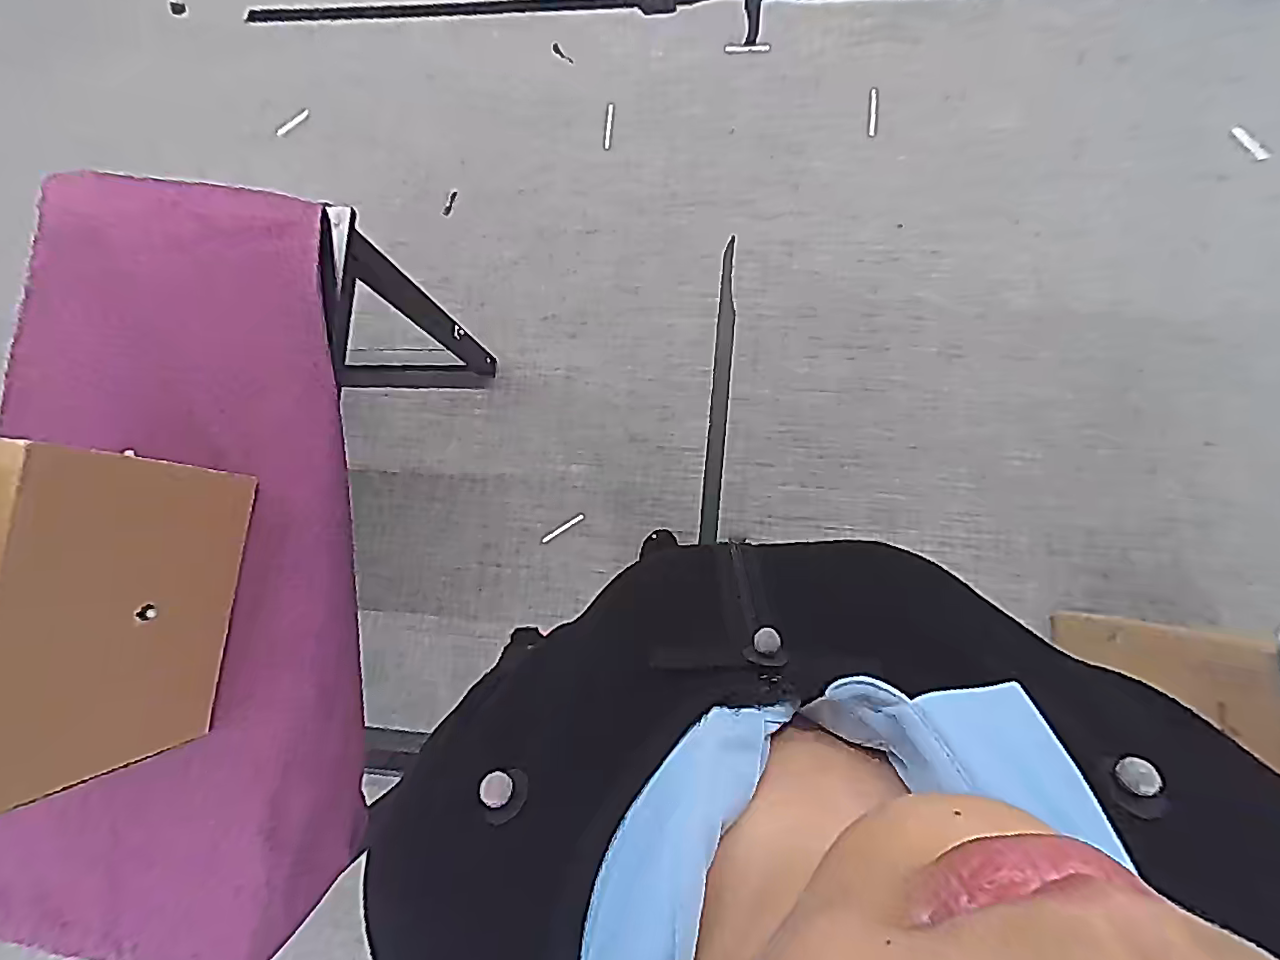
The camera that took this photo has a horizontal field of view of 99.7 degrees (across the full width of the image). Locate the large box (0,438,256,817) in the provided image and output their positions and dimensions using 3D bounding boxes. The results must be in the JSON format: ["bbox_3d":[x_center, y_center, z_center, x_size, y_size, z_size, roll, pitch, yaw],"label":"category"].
[{"bbox_3d":[-0.791,0.160,0.719,0.320,0.320,0.408,4,84,8],"label":"large box"}]
